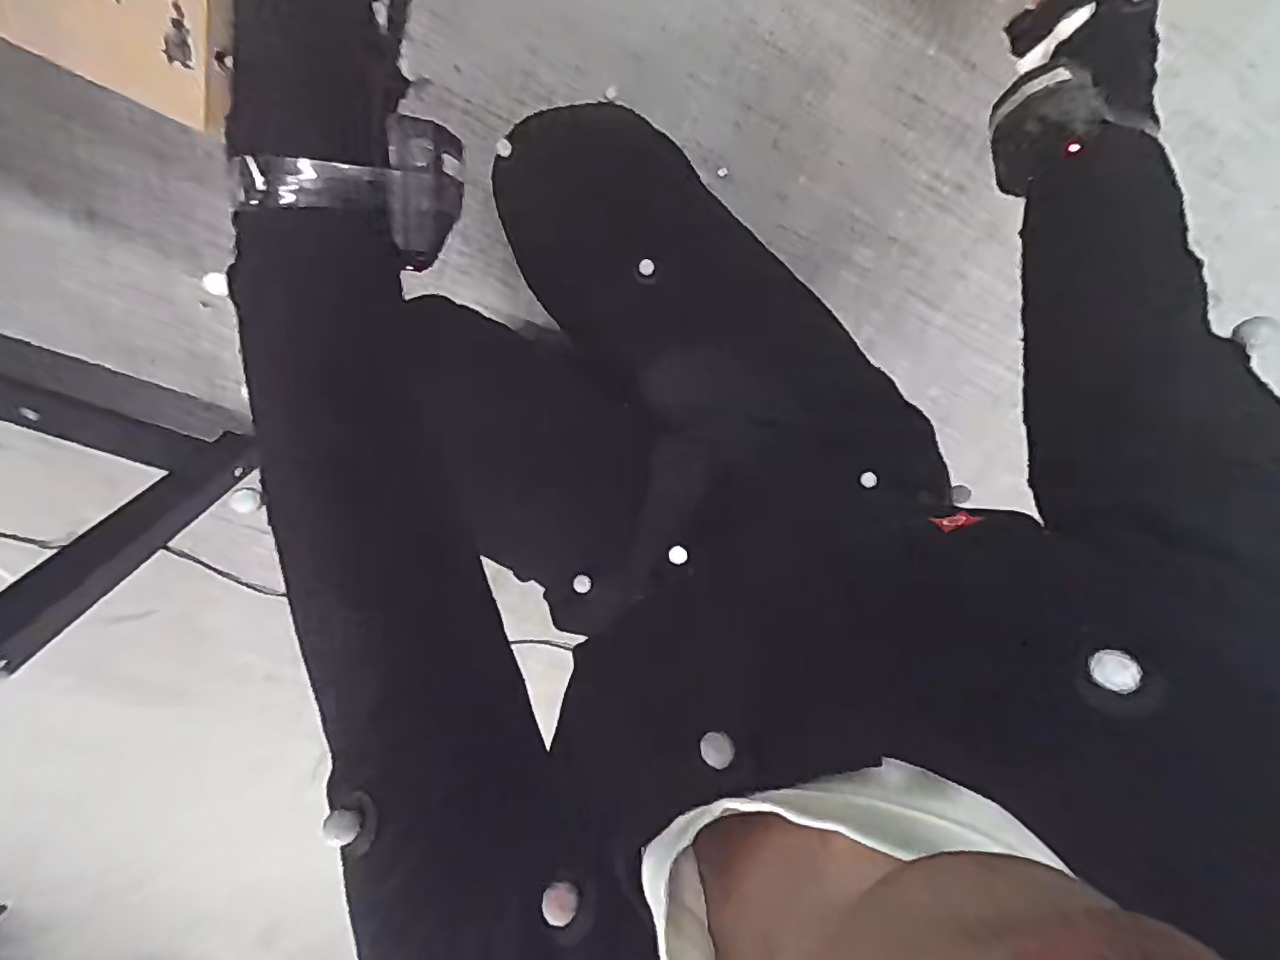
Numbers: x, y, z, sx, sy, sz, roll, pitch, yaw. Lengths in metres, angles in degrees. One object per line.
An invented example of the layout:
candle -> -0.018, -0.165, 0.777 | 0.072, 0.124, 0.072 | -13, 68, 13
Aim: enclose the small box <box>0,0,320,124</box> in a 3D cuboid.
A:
small box -> -0.446, -0.466, 0.516 | 0.179, 0.176, 0.168 | 23, 122, -11
